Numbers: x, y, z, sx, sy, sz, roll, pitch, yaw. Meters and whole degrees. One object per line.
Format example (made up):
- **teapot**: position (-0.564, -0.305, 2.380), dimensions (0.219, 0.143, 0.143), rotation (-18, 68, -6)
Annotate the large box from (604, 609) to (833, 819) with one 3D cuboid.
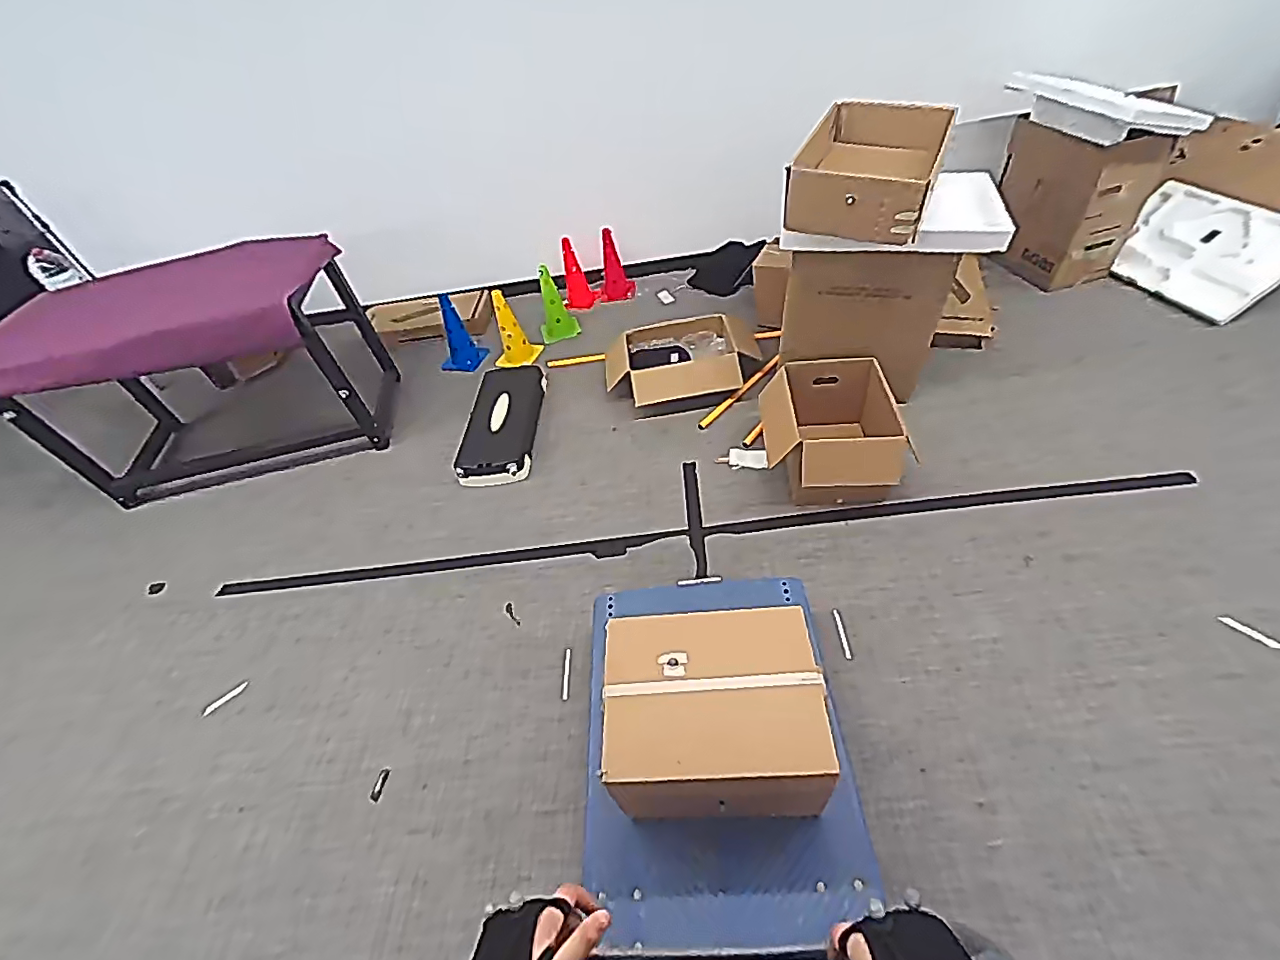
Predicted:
- **large box**: position (0.154, 0.502, 1.141), dimensions (0.408, 0.320, 0.320), rotation (-7, 46, 6)
